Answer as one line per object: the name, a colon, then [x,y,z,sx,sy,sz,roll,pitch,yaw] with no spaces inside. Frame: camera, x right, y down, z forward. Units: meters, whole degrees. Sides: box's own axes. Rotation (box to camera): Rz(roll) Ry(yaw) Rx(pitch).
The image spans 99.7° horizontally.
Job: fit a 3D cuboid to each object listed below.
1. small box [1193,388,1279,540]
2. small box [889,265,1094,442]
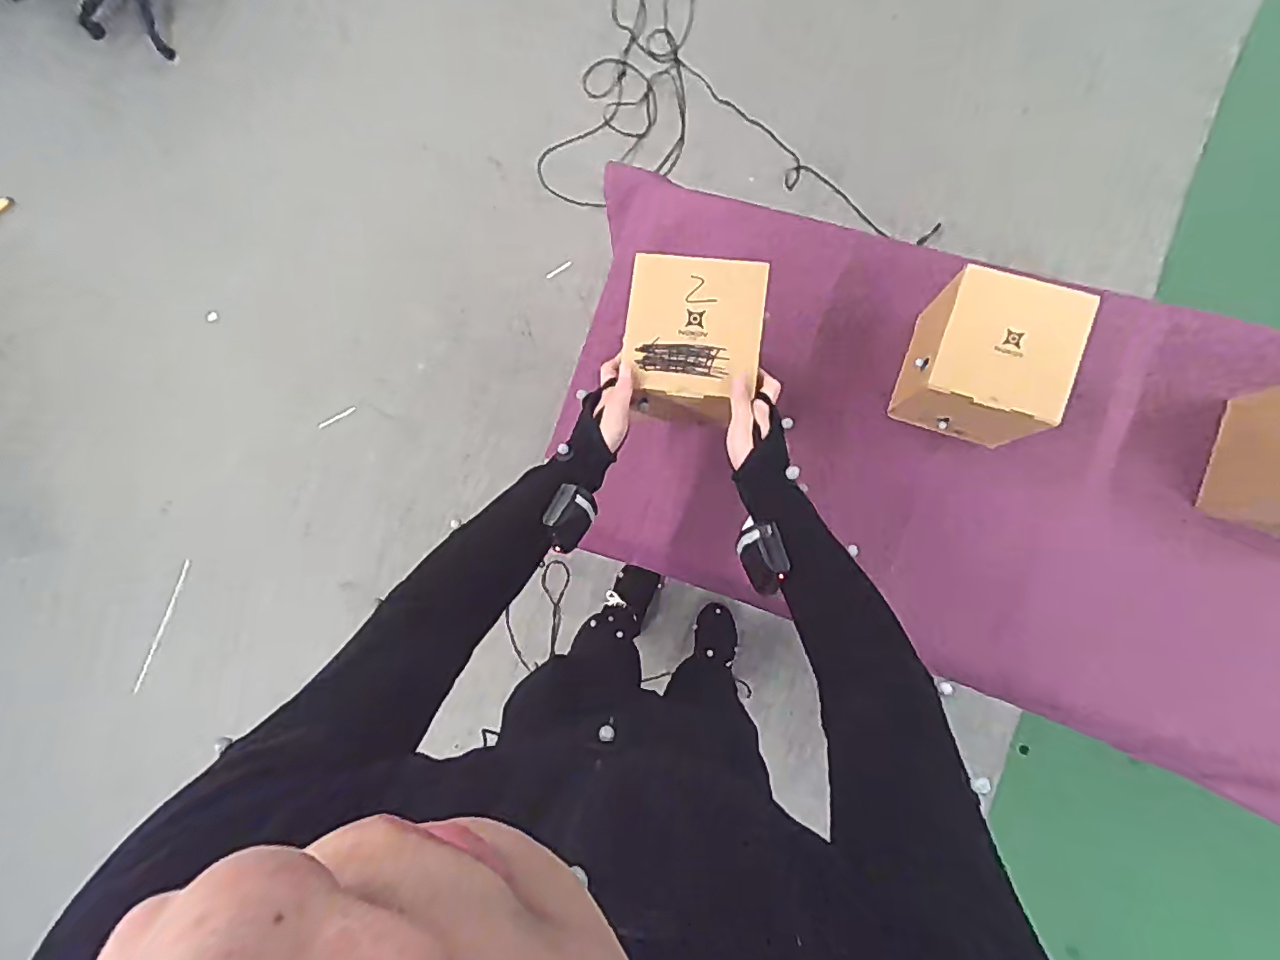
small box: [0.892,-0.020,0.701,0.168,0.176,0.179,21,88,10]
small box: [0.483,-0.169,0.774,0.168,0.176,0.179,20,88,8]
